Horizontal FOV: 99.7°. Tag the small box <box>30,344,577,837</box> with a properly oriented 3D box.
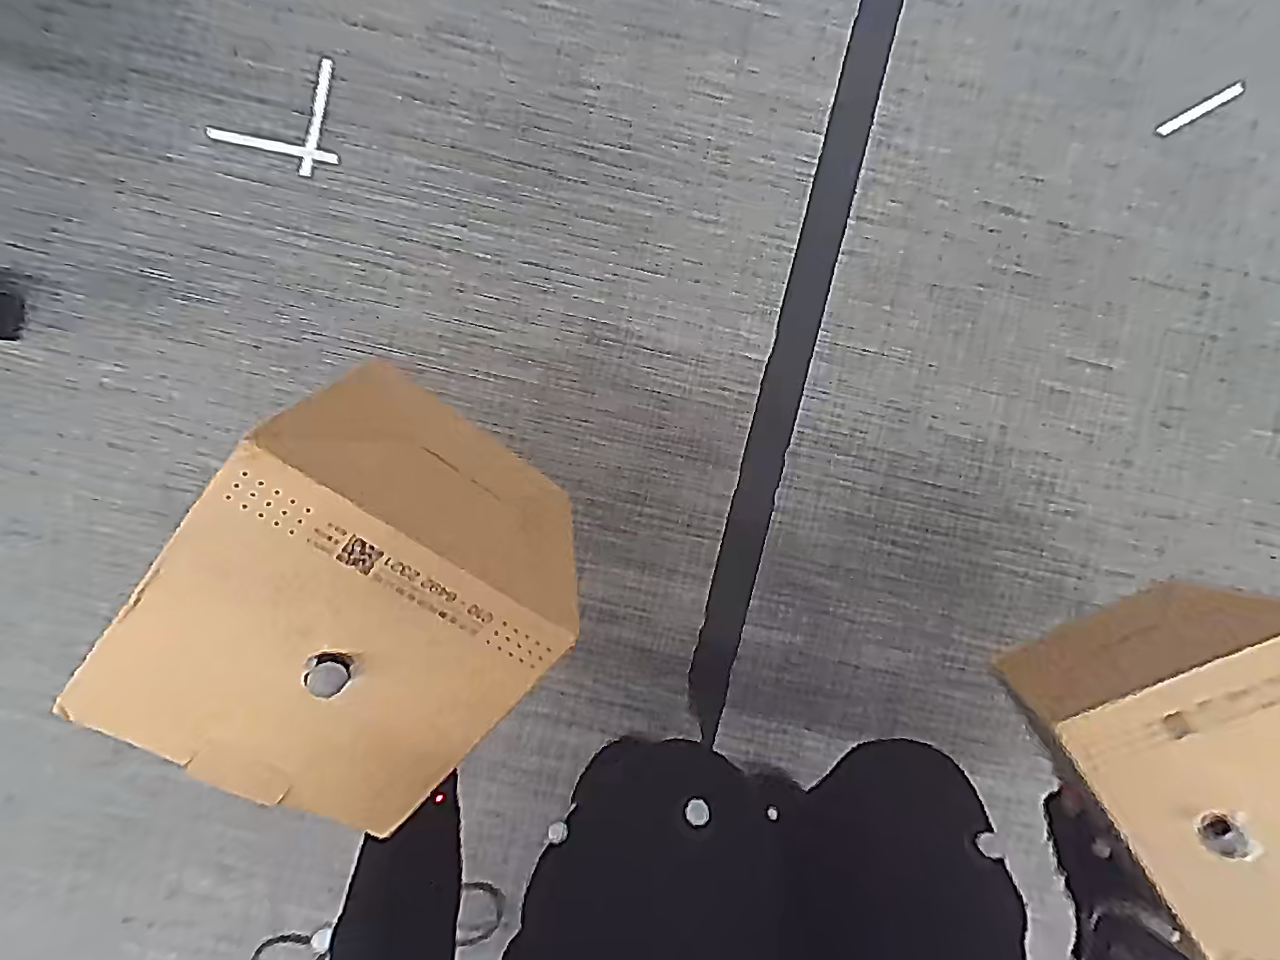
[{"bbox_3d":[-0.149,0.046,0.306,0.168,0.179,0.176,38,104,-20],"label":"small box"}]
